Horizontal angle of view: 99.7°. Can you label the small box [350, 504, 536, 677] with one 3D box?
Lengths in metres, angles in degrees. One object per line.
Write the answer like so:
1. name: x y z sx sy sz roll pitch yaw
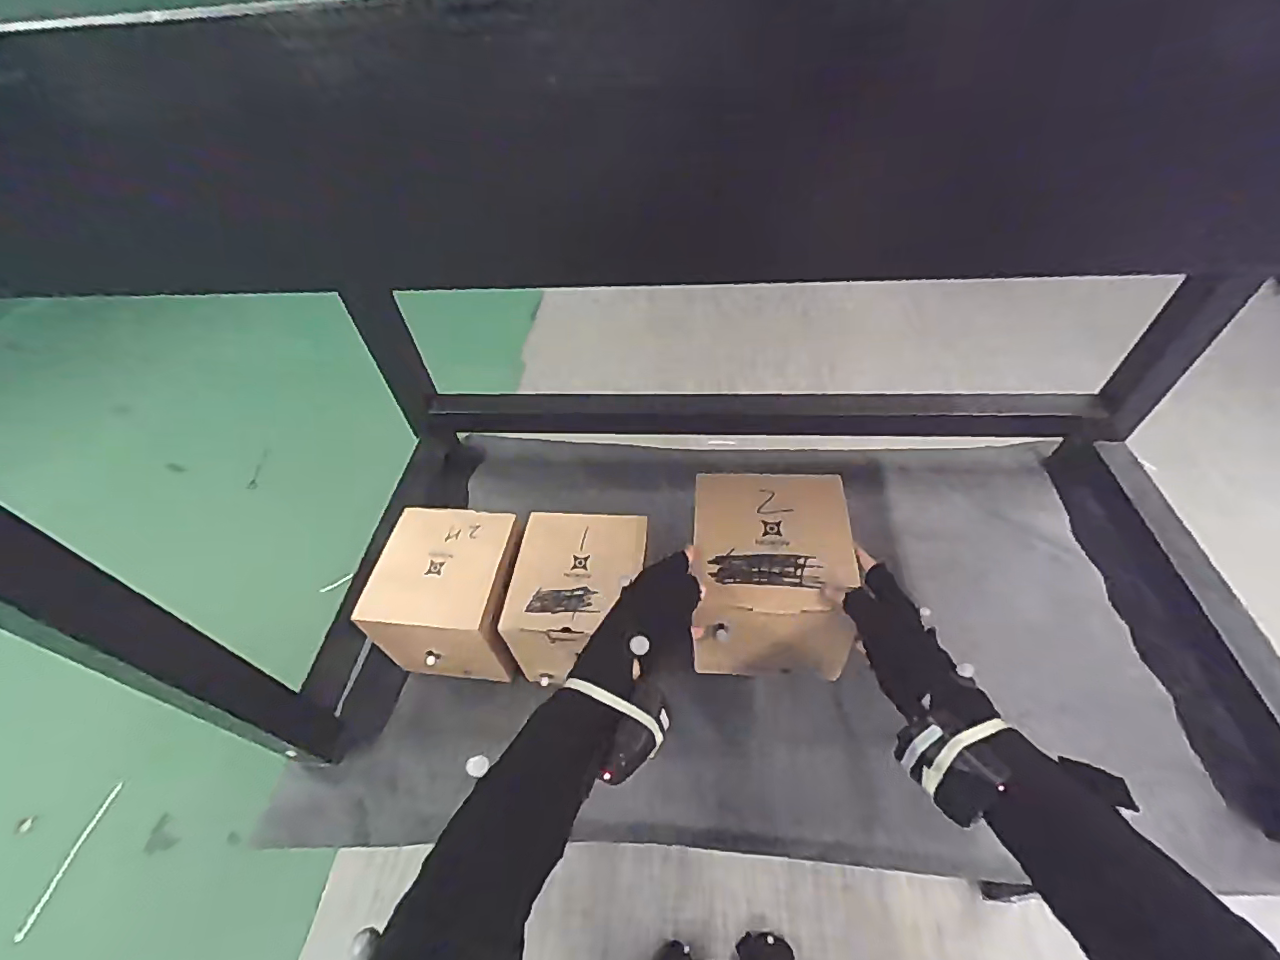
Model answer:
1. small box: -0.255 0.157 0.753 0.168 0.176 0.179 4 50 7
